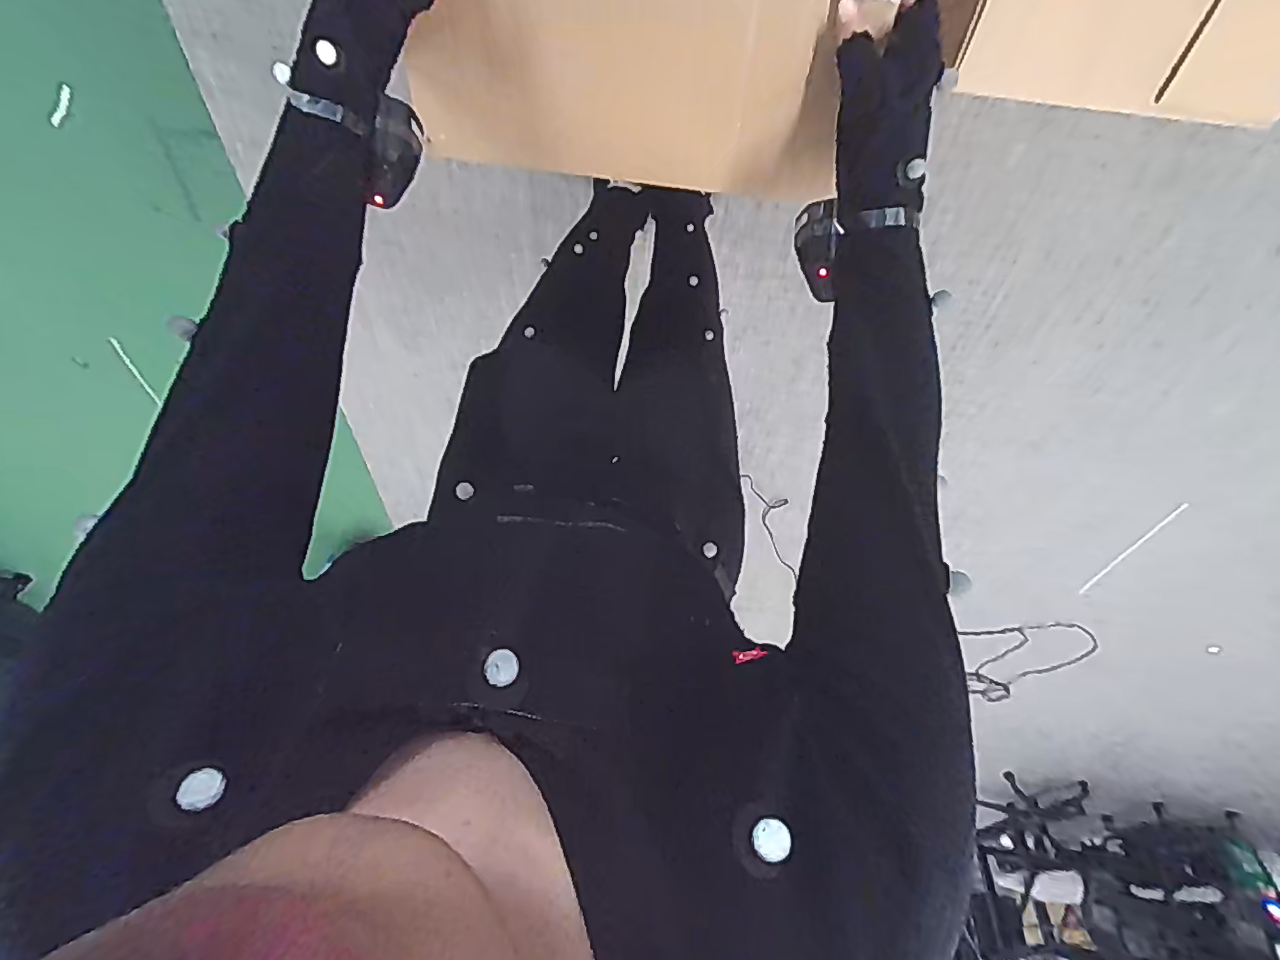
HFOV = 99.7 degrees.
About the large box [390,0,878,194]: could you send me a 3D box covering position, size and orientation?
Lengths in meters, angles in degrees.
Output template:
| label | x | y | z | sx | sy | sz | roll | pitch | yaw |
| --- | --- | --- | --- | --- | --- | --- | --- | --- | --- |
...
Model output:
| label | x | y | z | sx | sy | sz | roll | pitch | yaw |
| --- | --- | --- | --- | --- | --- | --- | --- | --- | --- |
| large box | 0.013 | -0.510 | 0.513 | 0.408 | 0.320 | 0.320 | 10 | 136 | 3 |
